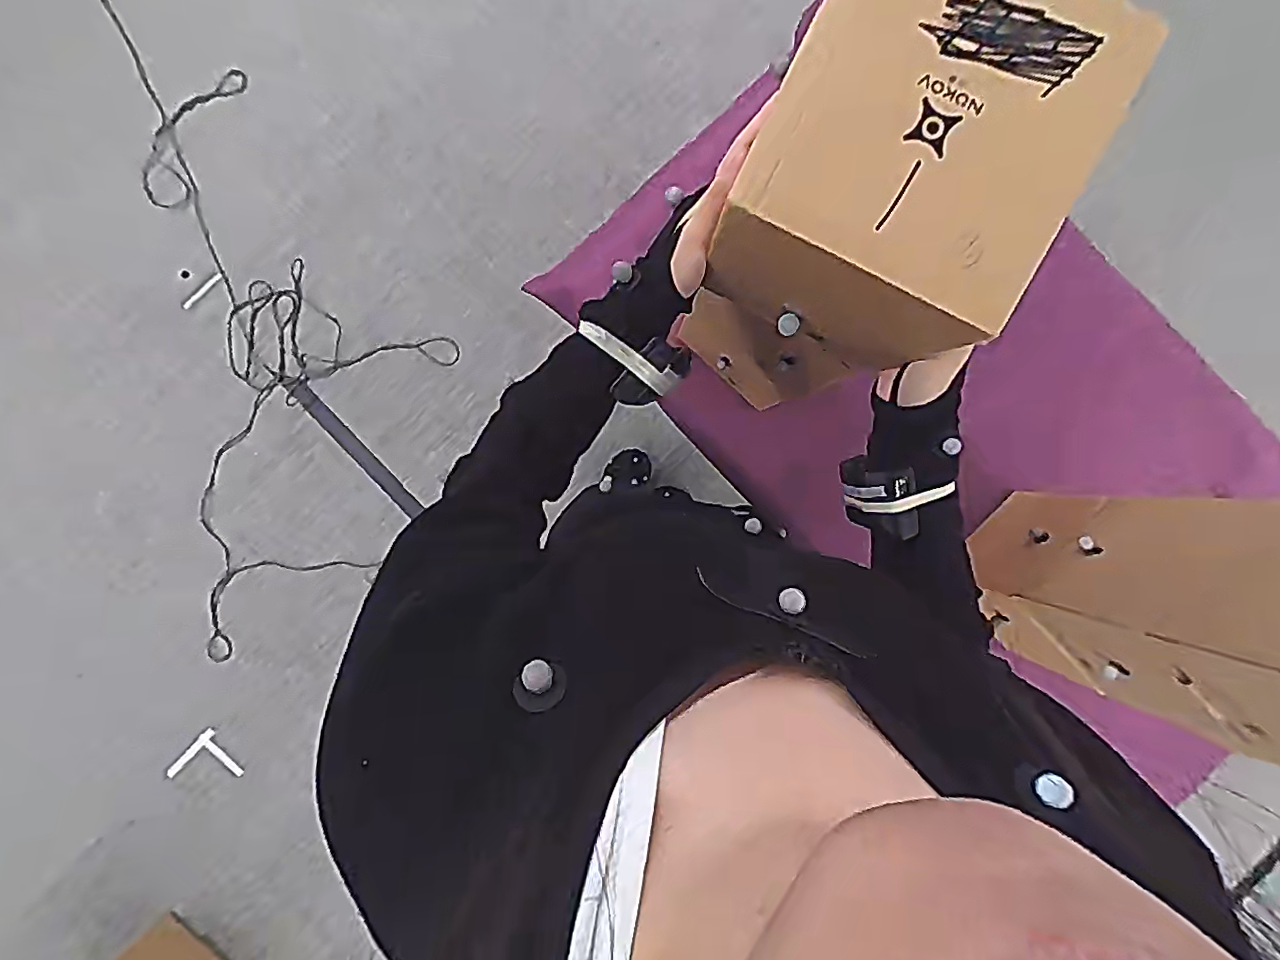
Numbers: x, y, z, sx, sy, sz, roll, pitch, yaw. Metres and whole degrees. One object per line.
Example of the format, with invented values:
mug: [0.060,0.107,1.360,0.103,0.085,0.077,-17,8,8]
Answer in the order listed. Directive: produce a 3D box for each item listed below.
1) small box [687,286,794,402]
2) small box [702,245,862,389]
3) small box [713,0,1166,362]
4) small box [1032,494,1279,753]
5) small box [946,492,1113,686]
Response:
small box: [0.177,-0.222,0.711,0.168,0.176,0.179,42,89,-2]
small box: [0.179,-0.214,0.549,0.168,0.176,0.179,40,88,-3]
small box: [0.159,-0.197,0.358,0.168,0.176,0.179,26,96,-1]
small box: [0.564,0.131,0.566,0.179,0.176,0.168,-43,91,-1]
small box: [0.555,0.133,0.730,0.179,0.176,0.168,-44,91,-1]
